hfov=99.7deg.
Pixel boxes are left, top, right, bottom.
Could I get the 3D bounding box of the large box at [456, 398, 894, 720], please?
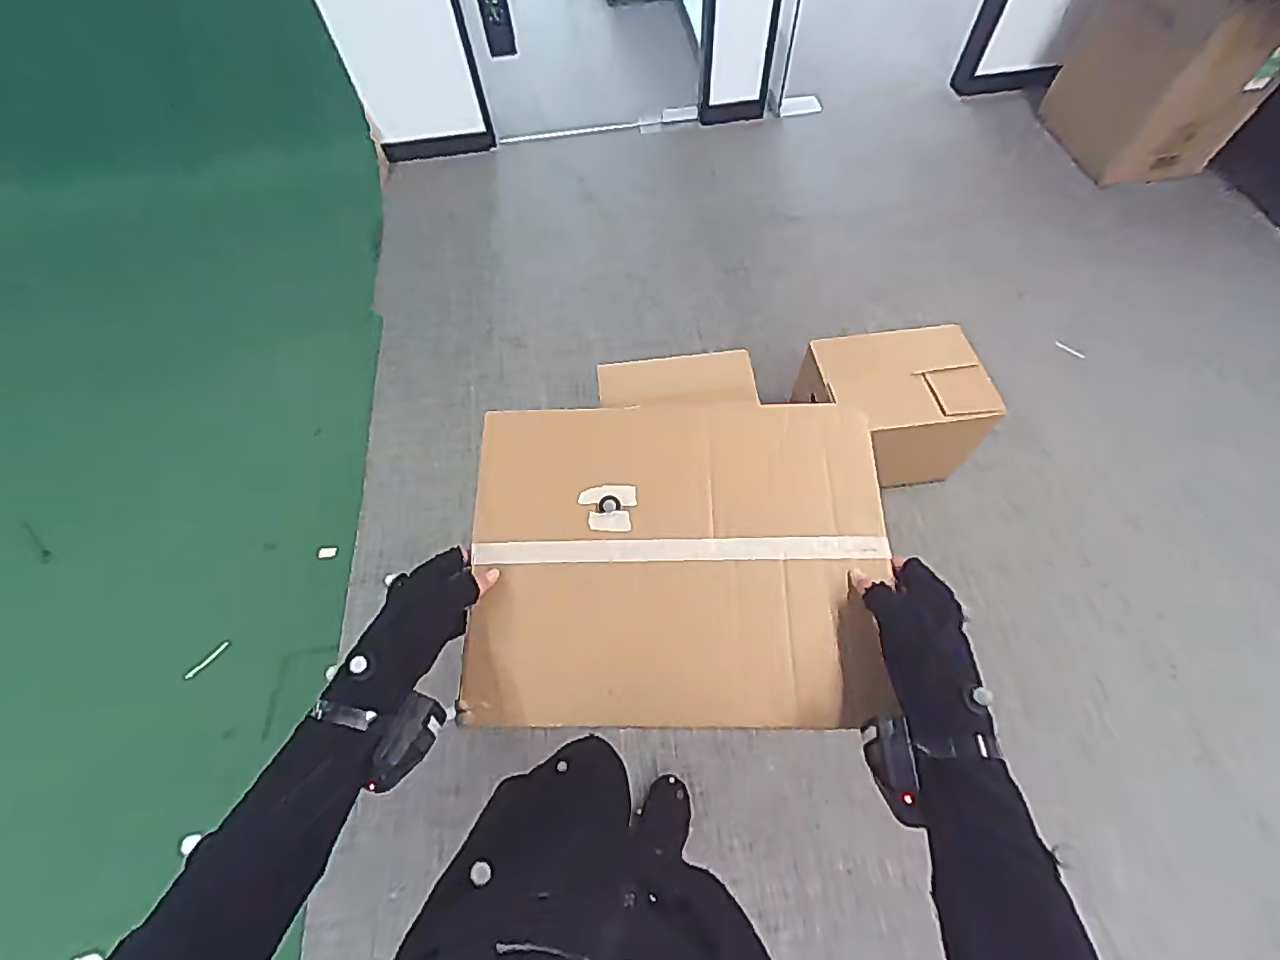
[{"bbox_3d":[0.037,0.111,0.672,0.408,0.320,0.320,-1,71,4],"label":"large box"}]
